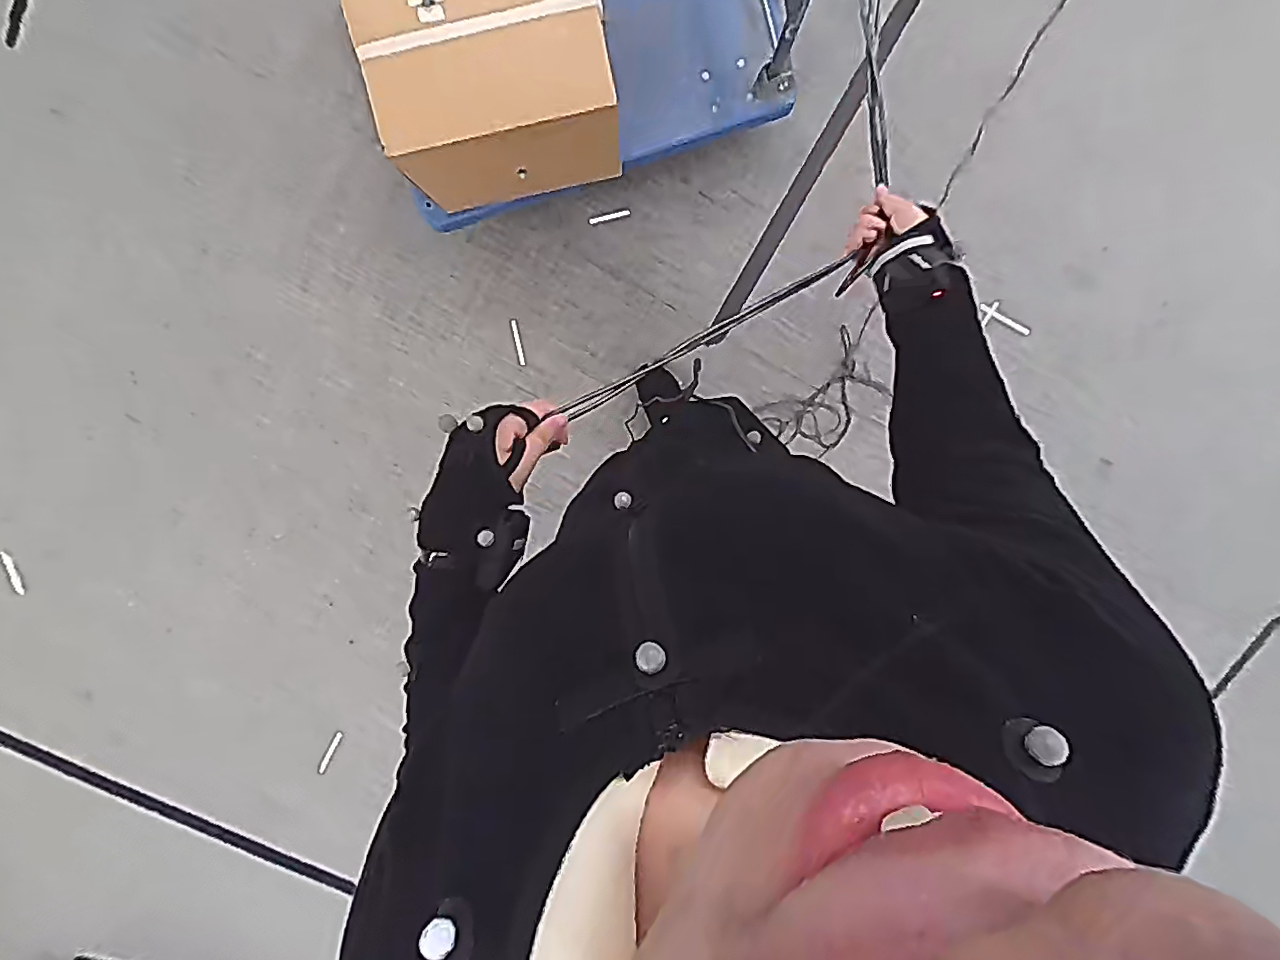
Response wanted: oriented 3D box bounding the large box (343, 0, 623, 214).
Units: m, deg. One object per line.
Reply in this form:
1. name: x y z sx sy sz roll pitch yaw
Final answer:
1. large box: -0.263 -0.749 1.024 0.408 0.320 0.320 -12 99 2
